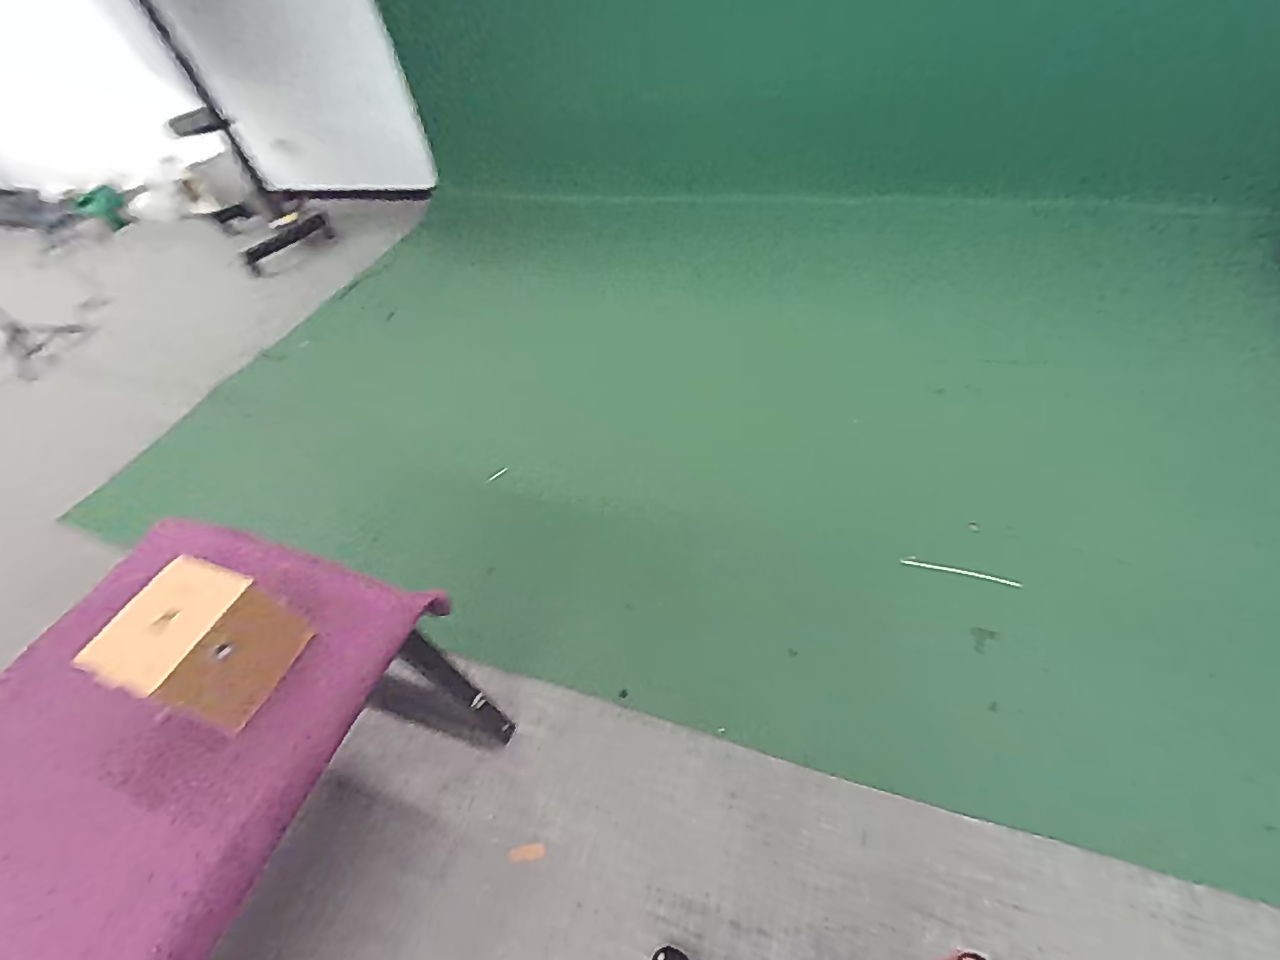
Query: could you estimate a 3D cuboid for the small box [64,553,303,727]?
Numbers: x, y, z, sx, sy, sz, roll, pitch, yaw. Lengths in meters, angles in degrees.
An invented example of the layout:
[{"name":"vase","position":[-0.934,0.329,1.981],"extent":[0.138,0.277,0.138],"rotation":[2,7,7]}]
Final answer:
[{"name":"small box","position":[-0.658,0.240,0.806],"extent":[0.168,0.176,0.179],"rotation":[12,52,19]}]
